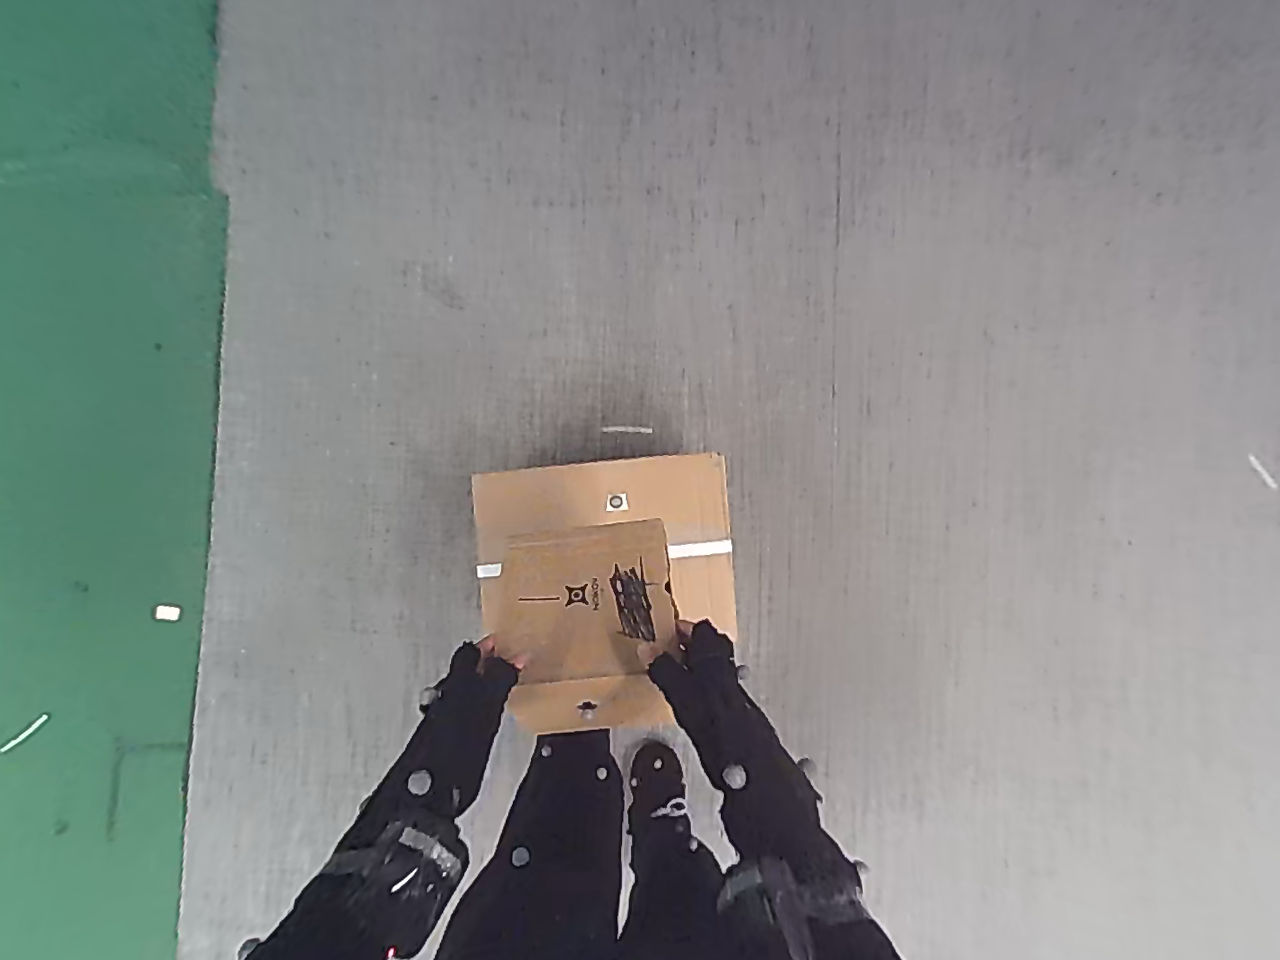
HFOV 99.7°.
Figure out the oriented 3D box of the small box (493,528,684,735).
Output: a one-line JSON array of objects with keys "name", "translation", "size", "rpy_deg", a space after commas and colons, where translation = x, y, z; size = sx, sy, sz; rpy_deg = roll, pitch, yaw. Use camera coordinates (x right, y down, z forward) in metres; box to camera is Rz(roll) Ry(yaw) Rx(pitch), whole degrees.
[{"name": "small box", "translation": [-0.049, 0.171, 0.599], "size": [0.179, 0.176, 0.168], "rpy_deg": [-6, 52, 0]}]
